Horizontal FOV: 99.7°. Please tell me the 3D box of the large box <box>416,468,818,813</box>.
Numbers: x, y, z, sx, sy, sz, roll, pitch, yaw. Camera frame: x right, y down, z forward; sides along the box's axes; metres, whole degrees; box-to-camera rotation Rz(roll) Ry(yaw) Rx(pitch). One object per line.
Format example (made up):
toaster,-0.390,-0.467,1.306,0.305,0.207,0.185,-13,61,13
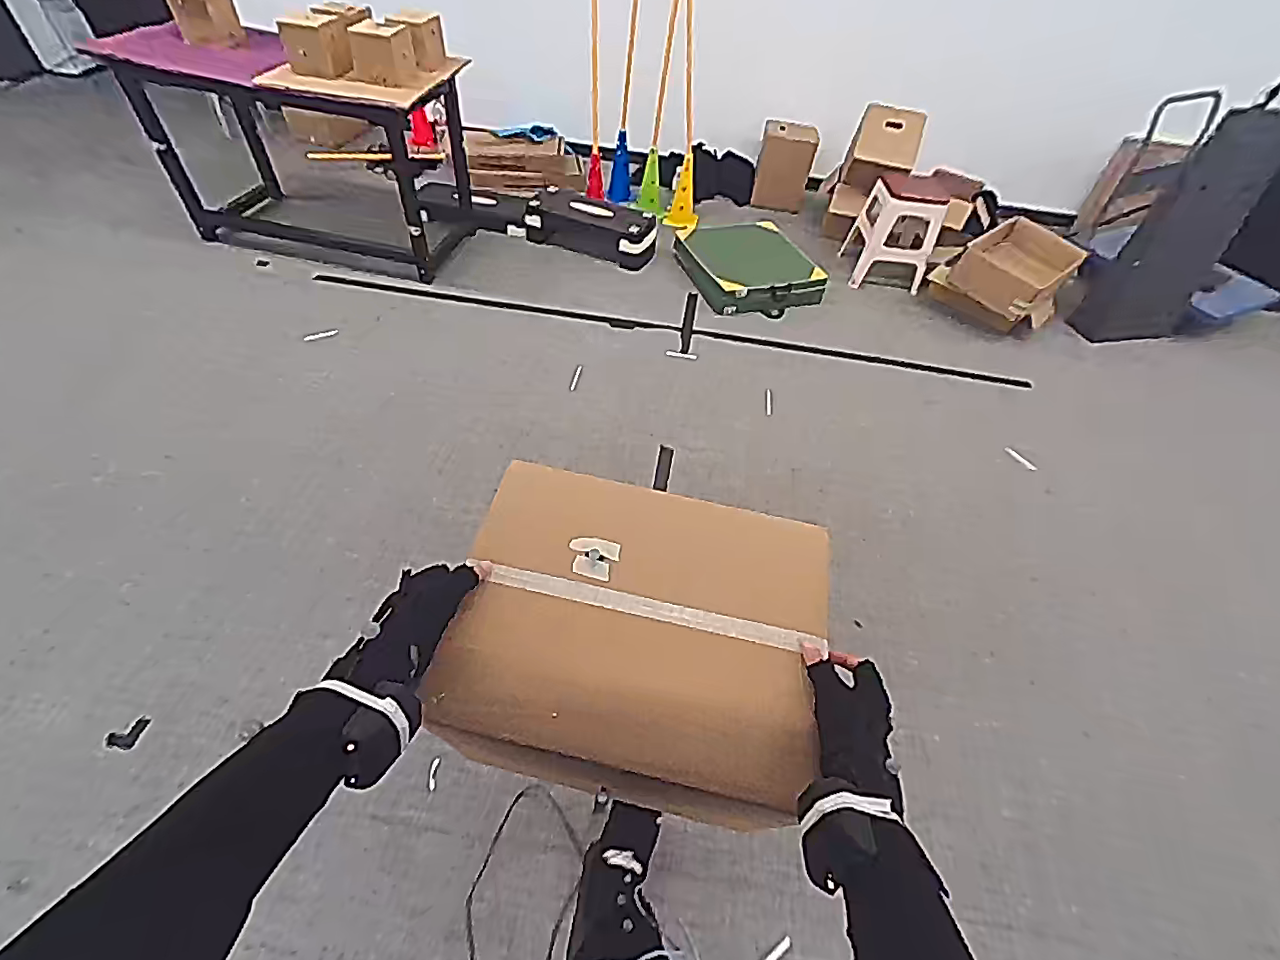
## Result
large box,-0.007,0.226,0.727,0.408,0.320,0.320,12,55,4
